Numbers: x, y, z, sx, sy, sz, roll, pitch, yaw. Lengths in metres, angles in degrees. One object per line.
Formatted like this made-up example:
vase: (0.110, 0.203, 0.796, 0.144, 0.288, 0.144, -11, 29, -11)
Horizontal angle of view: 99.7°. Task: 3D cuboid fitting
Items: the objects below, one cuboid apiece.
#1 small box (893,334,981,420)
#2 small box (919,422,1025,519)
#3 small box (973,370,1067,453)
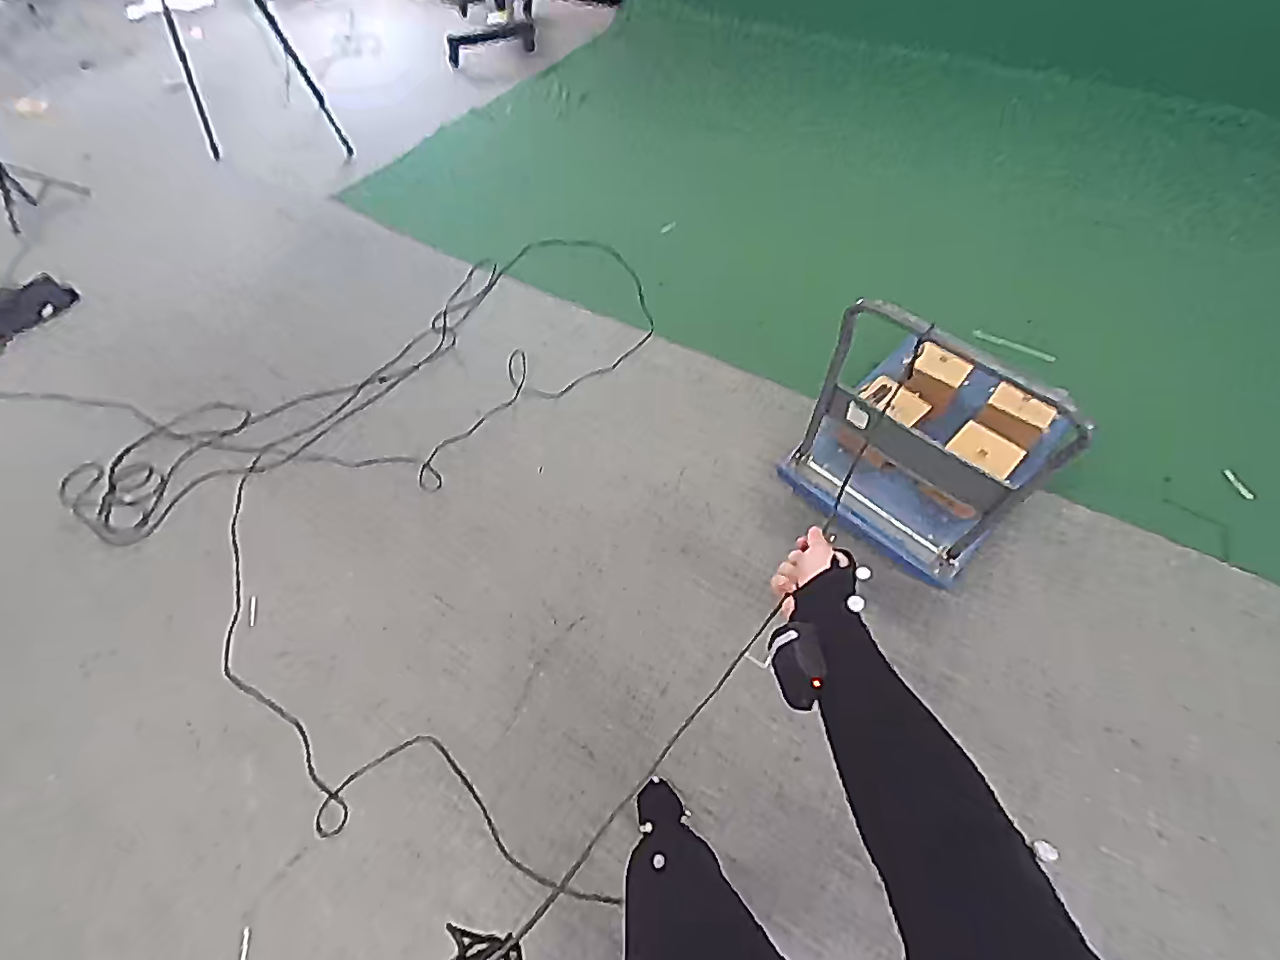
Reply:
small box: (0.938, -0.325, 1.728, 0.168, 0.176, 0.179, 36, 66, 22)
small box: (0.934, -0.024, 1.537, 0.179, 0.176, 0.168, -40, 64, -20)
small box: (1.126, -0.190, 1.631, 0.168, 0.176, 0.179, 36, 67, 24)
